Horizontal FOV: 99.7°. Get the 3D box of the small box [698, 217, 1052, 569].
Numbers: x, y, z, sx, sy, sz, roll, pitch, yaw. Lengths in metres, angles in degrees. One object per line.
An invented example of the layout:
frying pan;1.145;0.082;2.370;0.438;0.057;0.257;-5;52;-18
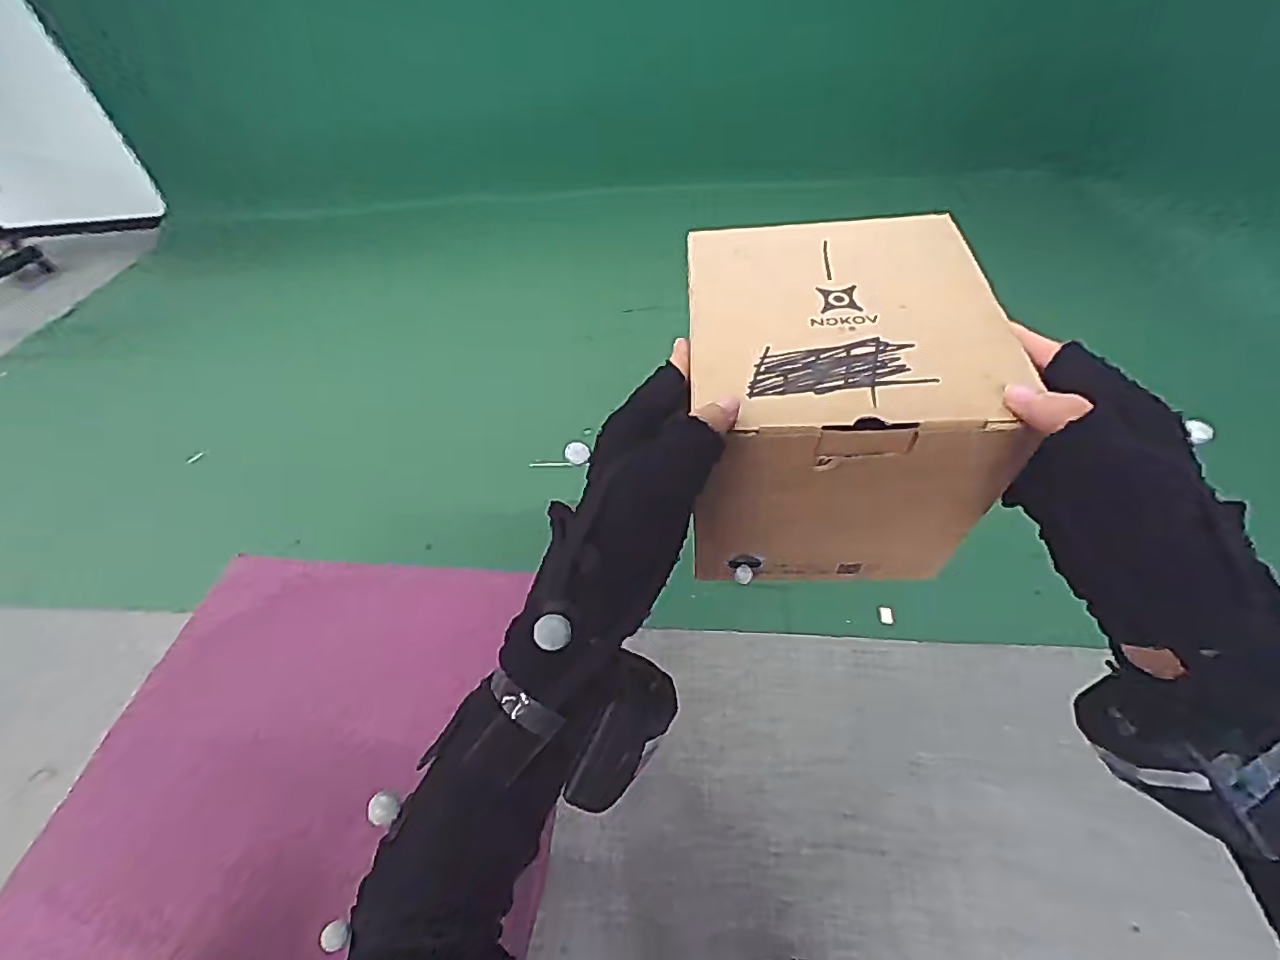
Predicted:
small box;0.125;-0.049;0.371;0.168;0.176;0.179;-1;54;6
